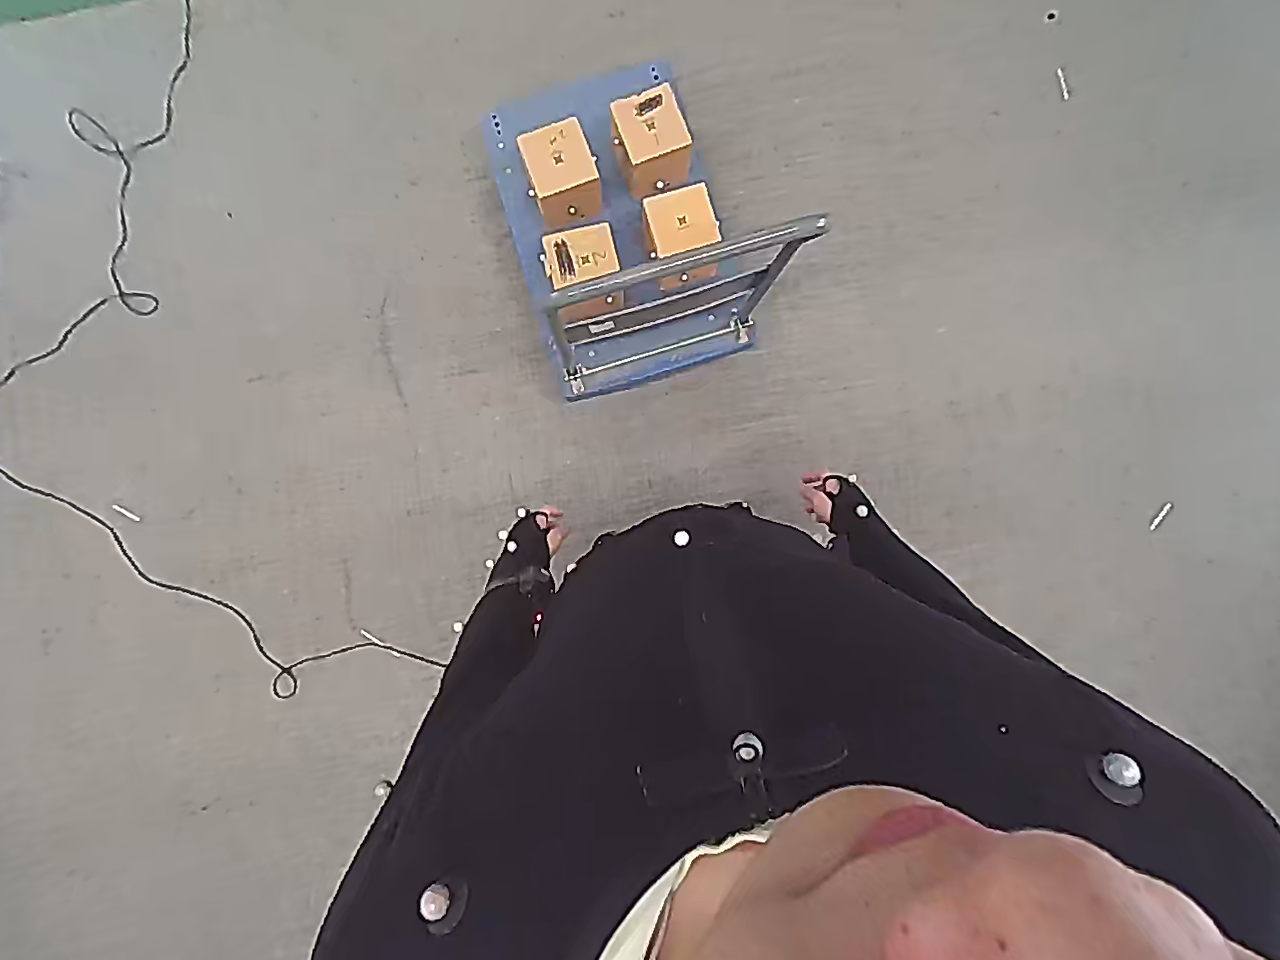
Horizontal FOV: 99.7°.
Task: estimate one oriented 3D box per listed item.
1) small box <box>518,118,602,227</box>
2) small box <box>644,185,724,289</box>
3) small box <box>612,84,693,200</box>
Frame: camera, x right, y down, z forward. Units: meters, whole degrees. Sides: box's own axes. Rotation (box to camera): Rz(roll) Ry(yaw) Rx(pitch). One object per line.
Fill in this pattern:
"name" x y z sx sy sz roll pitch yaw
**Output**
"small box" -0.207 -0.807 1.444 0.168 0.176 0.179 -20 87 -2
"small box" 0.109 -0.639 1.438 0.168 0.176 0.179 -16 87 -2
"small box" 0.029 -0.898 1.450 0.168 0.176 0.179 -21 88 -1
